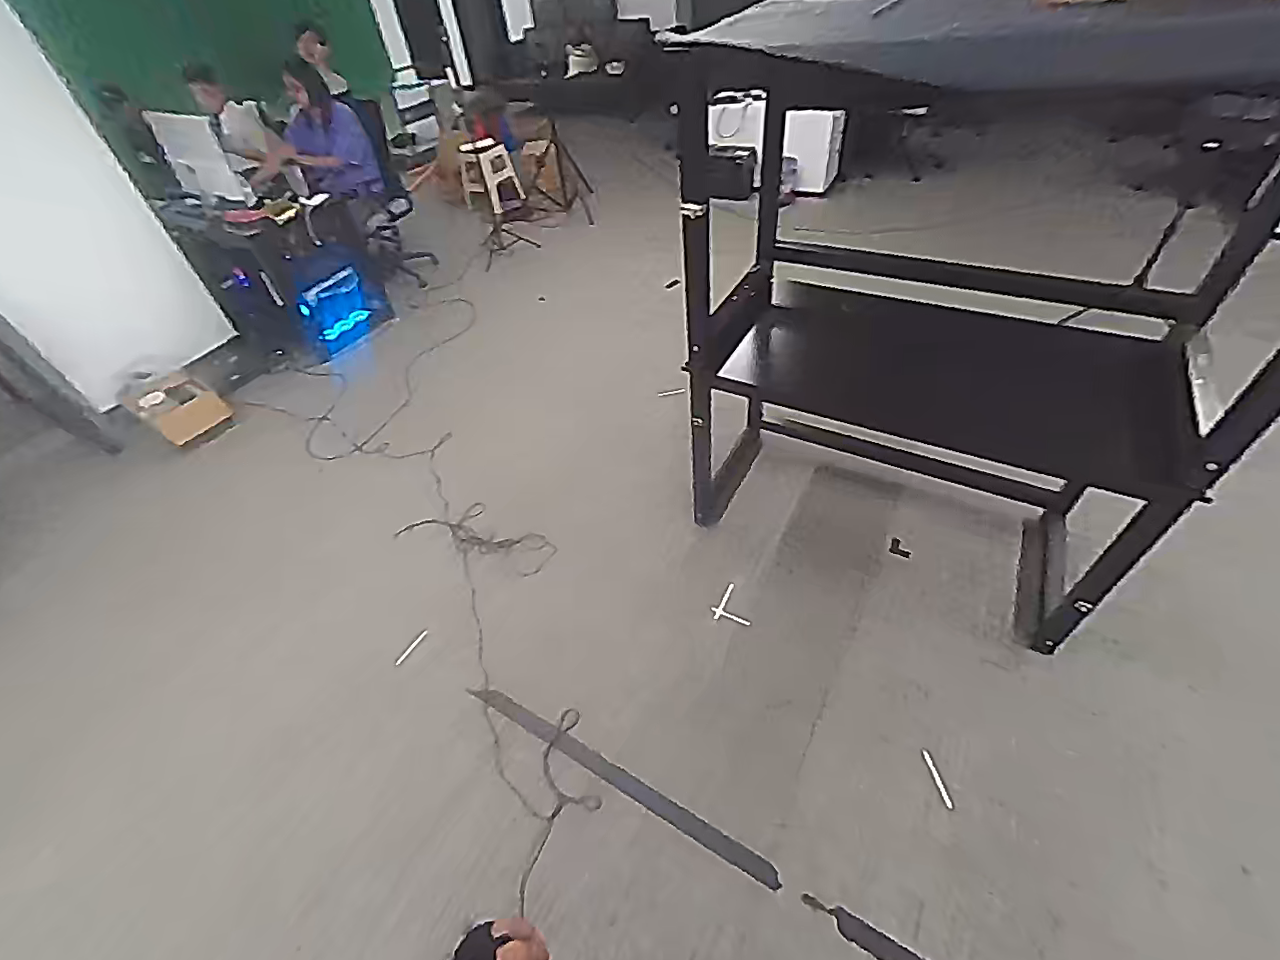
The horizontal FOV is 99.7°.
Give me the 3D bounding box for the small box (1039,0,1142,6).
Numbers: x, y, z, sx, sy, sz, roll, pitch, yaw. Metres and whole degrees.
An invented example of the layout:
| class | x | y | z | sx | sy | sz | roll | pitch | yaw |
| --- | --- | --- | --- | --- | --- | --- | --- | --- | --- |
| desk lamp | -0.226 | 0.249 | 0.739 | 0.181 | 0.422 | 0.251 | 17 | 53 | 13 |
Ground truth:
| class | x | y | z | sx | sy | sz | roll | pitch | yaw |
| --- | --- | --- | --- | --- | --- | --- | --- | --- | --- |
| small box | 0.852 | -0.977 | 0.976 | 0.168 | 0.176 | 0.179 | 19 | 52 | 25 |
